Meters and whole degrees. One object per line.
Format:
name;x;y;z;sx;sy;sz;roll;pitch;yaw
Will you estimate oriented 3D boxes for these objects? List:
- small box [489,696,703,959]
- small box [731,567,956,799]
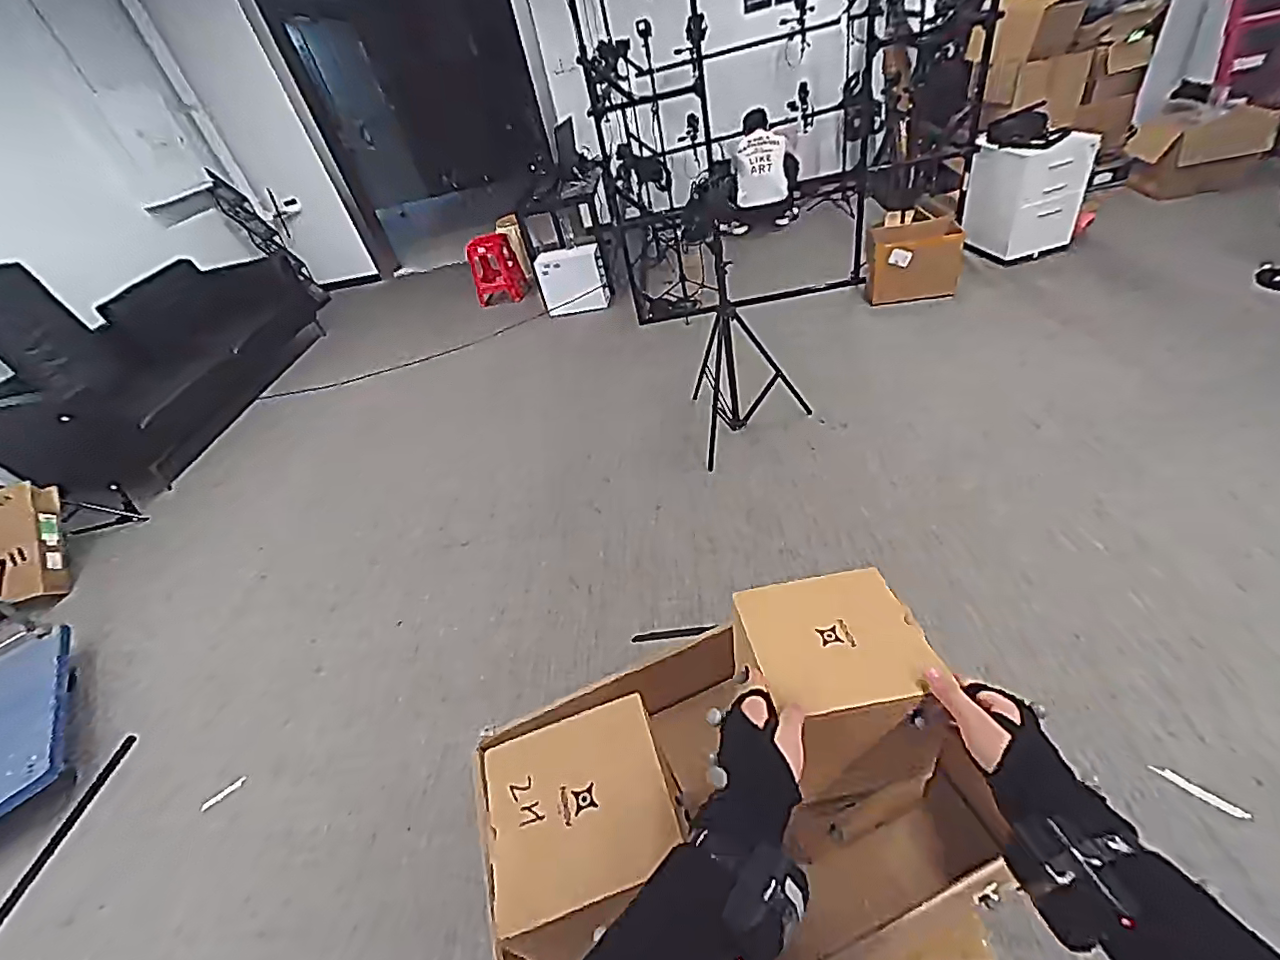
small box;-0.041;0.365;0.568;0.179;0.176;0.168;-19;40;-4
small box;0.208;0.225;0.602;0.179;0.176;0.168;-9;34;-3
